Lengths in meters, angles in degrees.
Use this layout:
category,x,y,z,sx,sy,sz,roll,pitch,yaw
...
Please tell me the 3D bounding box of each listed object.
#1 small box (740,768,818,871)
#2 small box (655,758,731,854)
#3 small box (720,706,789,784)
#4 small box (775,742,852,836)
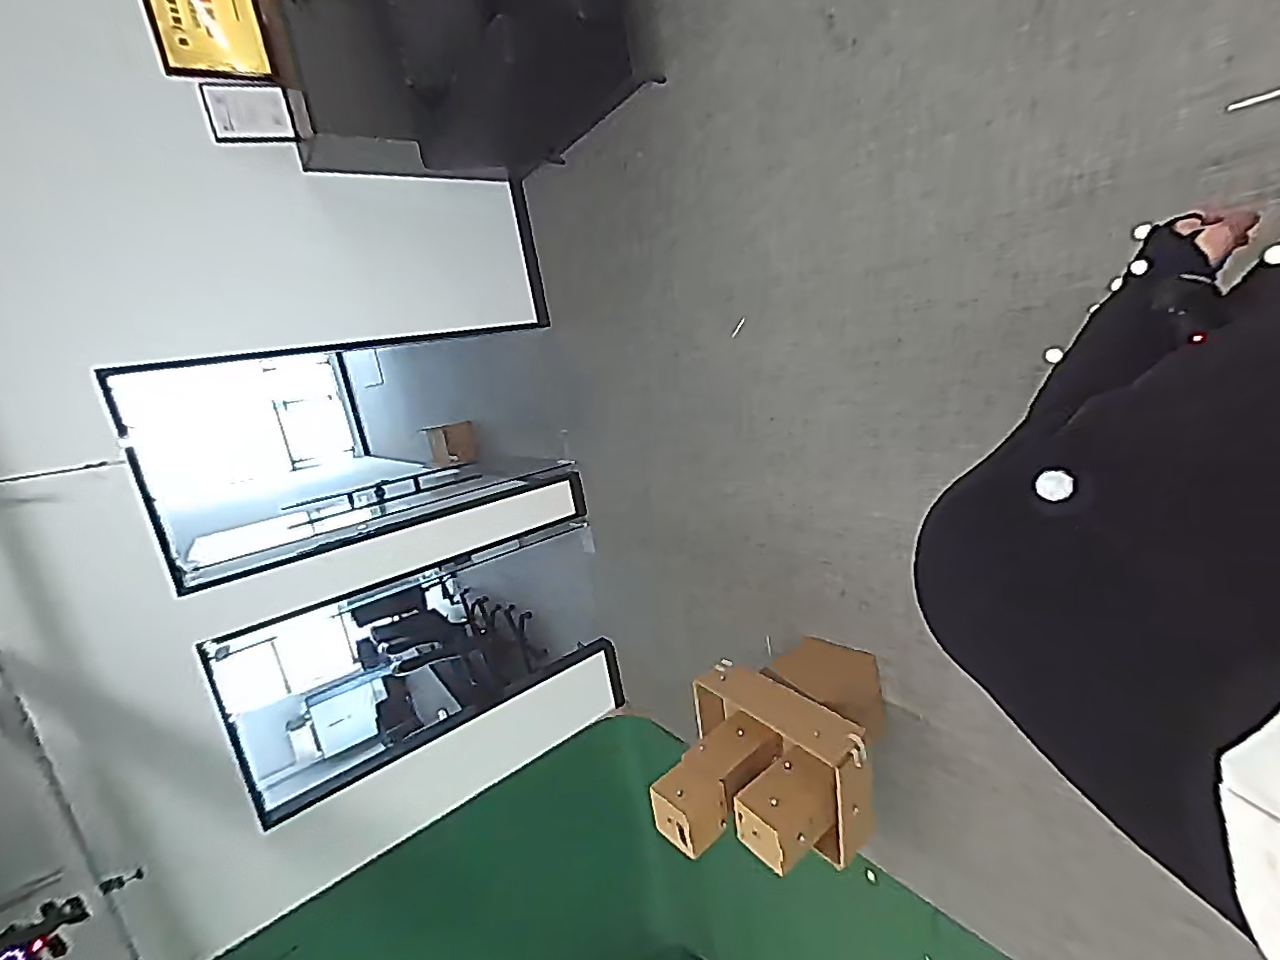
category,x,y,z,sx,sy,sz,roll,pitch,yaw
small box,0.432,1.030,1.661,0.179,0.176,0.168,13,115,52
small box,0.178,1.037,1.742,0.179,0.176,0.168,6,110,51
small box,0.415,0.952,1.954,0.179,0.176,0.168,9,112,50
small box,0.562,0.988,1.751,0.179,0.176,0.168,14,117,53
